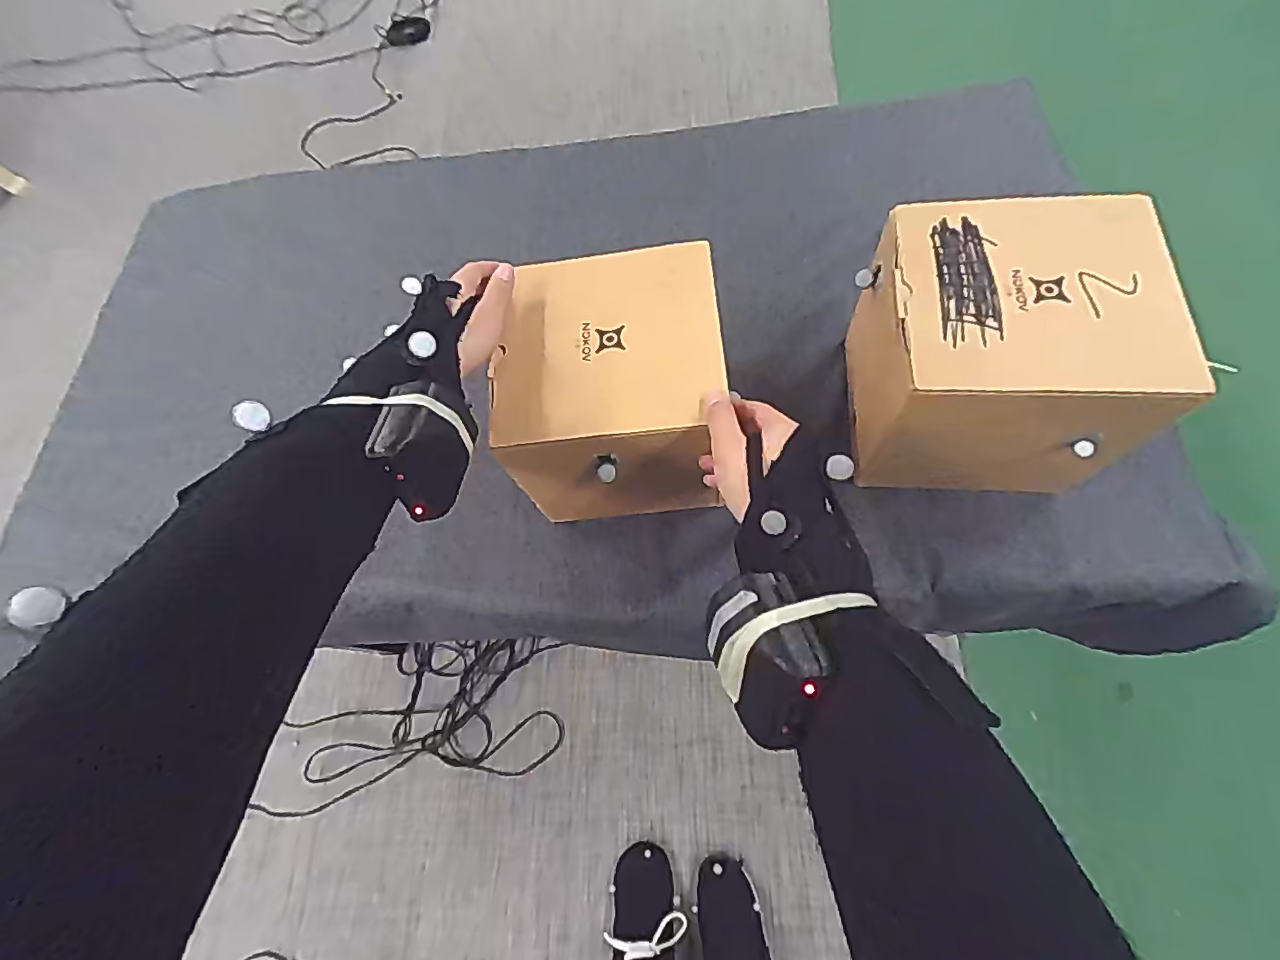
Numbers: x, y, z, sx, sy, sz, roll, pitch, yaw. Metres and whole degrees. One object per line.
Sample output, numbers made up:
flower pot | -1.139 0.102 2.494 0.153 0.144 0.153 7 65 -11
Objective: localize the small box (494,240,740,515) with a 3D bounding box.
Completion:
small box | -0.012 -0.076 0.477 0.179 0.176 0.168 -6 67 7
